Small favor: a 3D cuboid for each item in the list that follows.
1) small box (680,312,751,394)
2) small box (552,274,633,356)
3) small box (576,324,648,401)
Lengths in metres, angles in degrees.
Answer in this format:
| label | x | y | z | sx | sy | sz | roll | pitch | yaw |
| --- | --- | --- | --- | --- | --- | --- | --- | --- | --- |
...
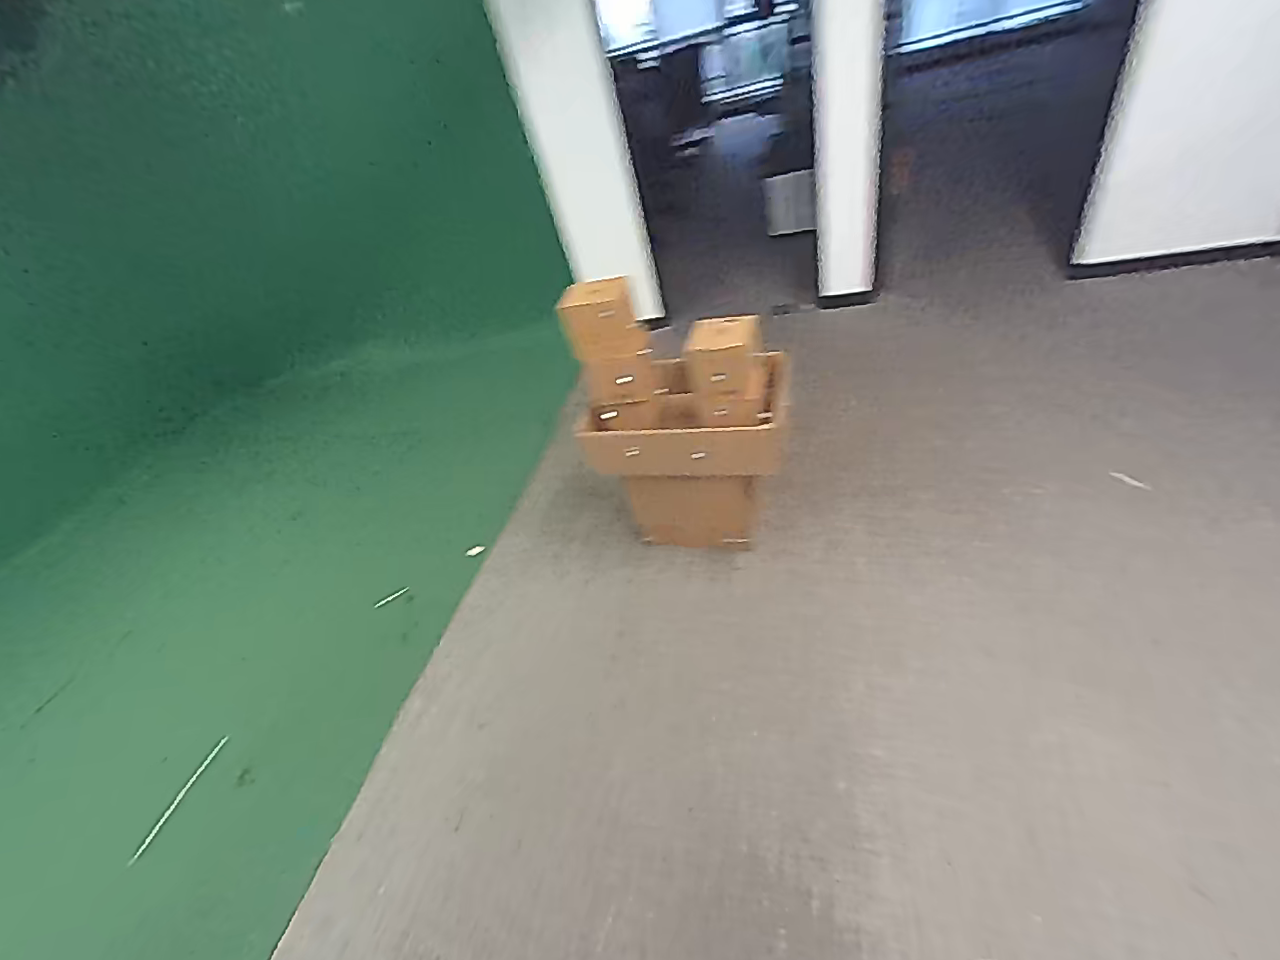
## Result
| label | x | y | z | sx | sy | sz | roll | pitch | yaw |
| --- | --- | --- | --- | --- | --- | --- | --- | --- | --- |
| small box | 0.226 | -0.362 | 1.570 | 0.168 | 0.176 | 0.179 | 1 | 45 | 21 |
| small box | -0.132 | -0.476 | 1.580 | 0.179 | 0.176 | 0.168 | -4 | 42 | 15 |
| small box | -0.080 | -0.358 | 1.680 | 0.168 | 0.176 | 0.179 | -3 | 42 | 16 |
